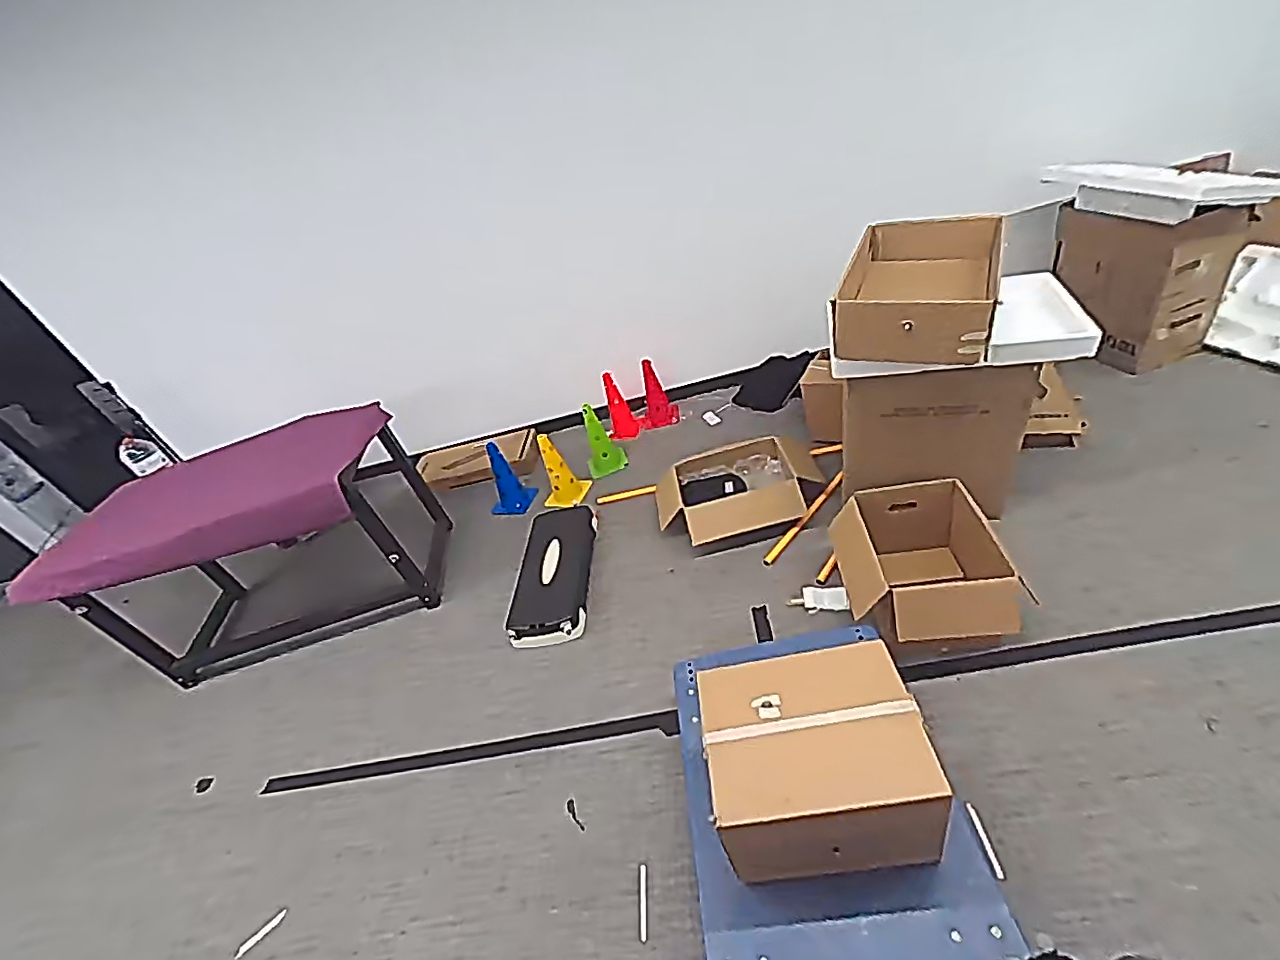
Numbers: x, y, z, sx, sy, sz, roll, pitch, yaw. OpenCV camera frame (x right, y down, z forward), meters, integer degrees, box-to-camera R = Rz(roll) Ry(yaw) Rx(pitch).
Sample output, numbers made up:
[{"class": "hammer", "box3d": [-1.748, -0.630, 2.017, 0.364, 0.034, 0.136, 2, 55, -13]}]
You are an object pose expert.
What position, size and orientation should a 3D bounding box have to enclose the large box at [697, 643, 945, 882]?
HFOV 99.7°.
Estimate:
[{"class": "large box", "box3d": [0.365, 0.601, 1.146, 0.408, 0.320, 0.320, -14, 35, 8]}]
